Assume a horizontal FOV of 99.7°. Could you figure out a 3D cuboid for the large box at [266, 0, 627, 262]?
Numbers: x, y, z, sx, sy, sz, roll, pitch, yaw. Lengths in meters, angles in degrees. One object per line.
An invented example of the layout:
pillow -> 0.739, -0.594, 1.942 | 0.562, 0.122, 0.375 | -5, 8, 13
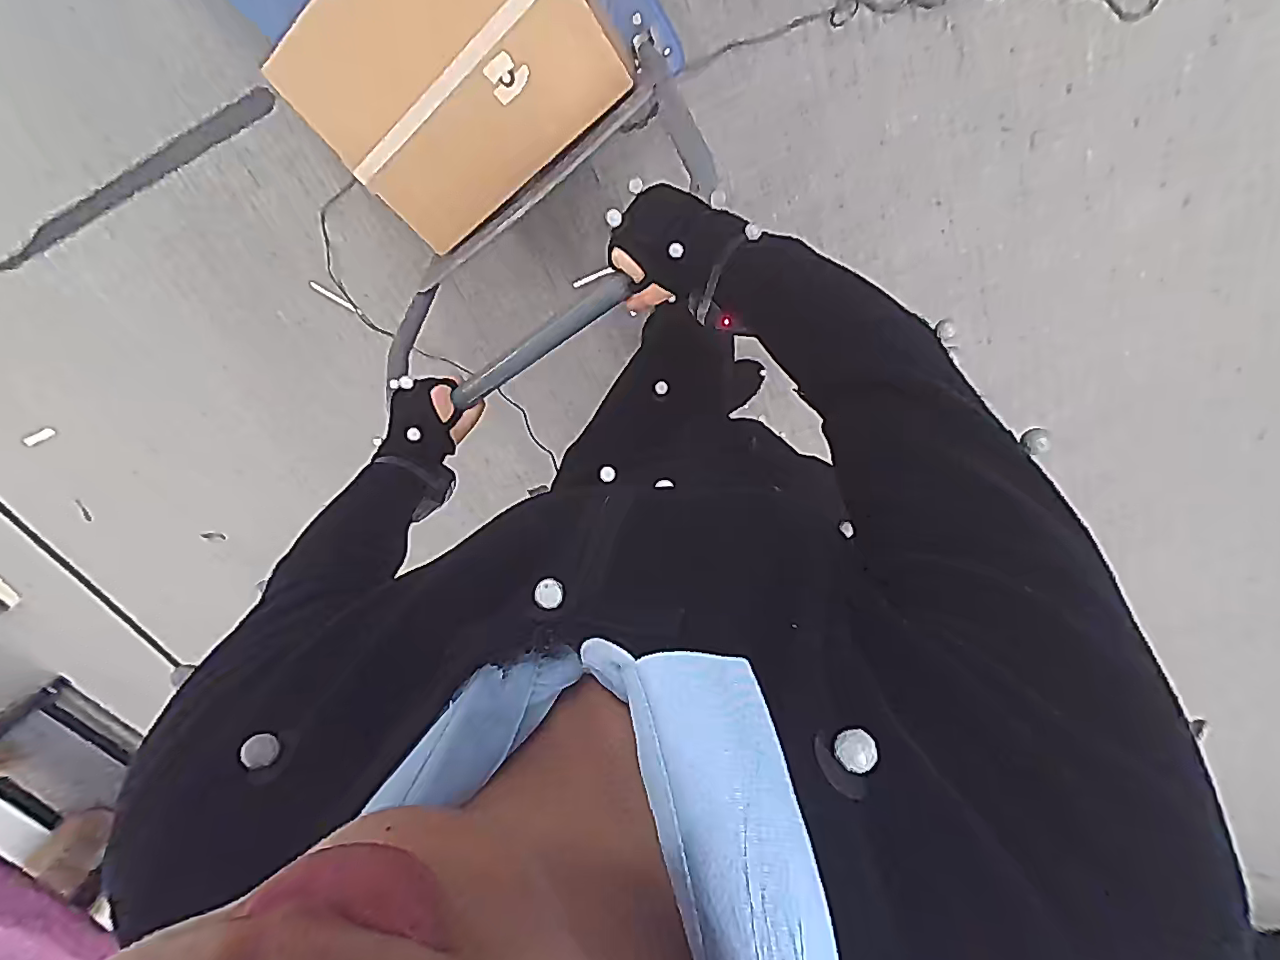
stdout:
large box -> -0.267, -0.636, 0.845 | 0.408, 0.320, 0.320 | -30, 128, 23
